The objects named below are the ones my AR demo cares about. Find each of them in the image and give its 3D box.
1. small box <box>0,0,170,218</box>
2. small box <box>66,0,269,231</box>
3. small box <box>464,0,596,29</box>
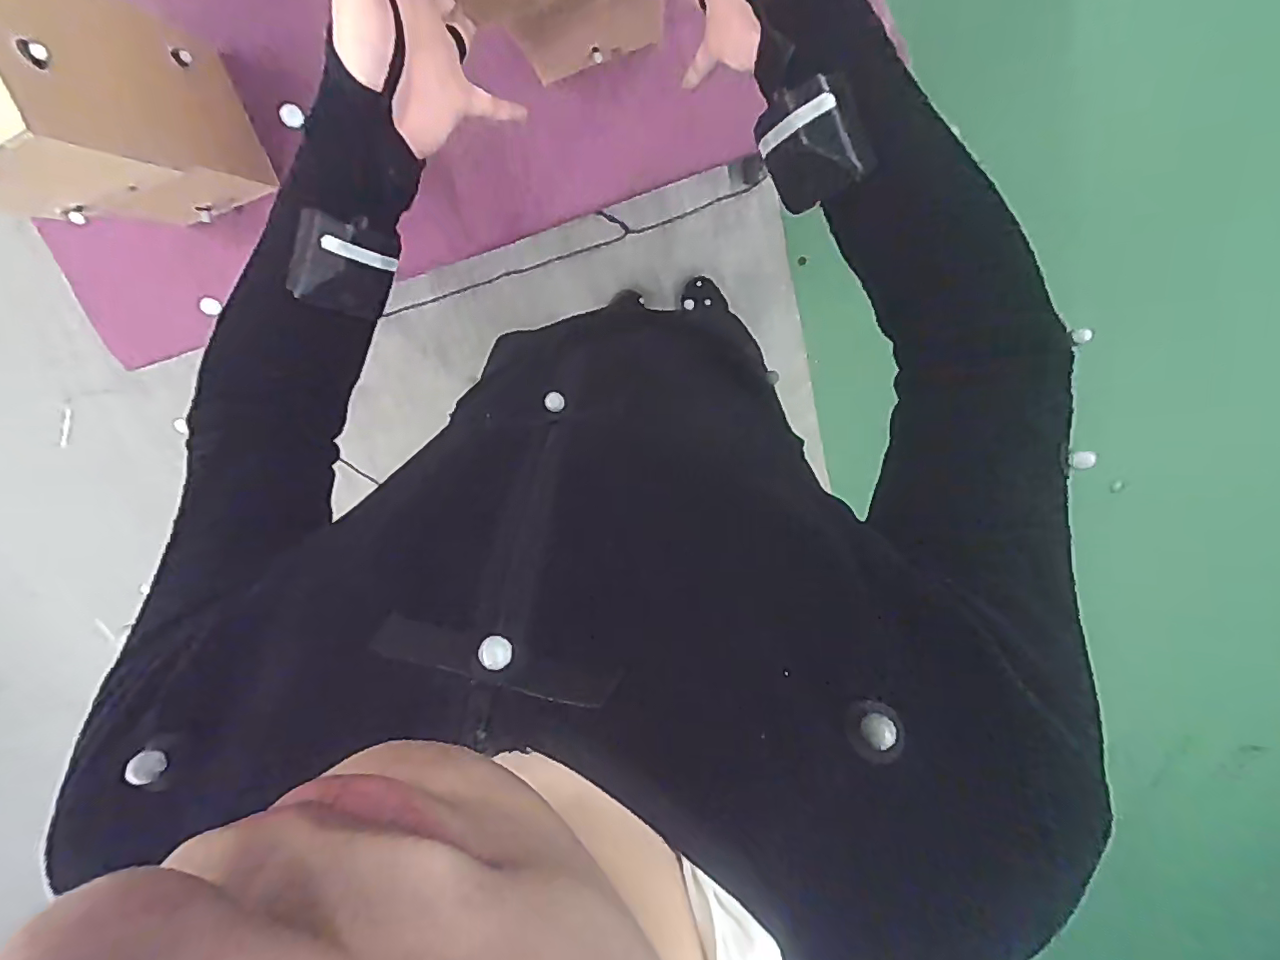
[{"bbox_3d":[-0.616,-0.365,0.511,0.168,0.176,0.179,-16,106,7],"label":"small box"},{"bbox_3d":[-0.615,-0.427,0.663,0.168,0.176,0.179,-16,108,7],"label":"small box"},{"bbox_3d":[-0.071,-0.417,0.308,0.168,0.176,0.179,-12,106,6],"label":"small box"}]
